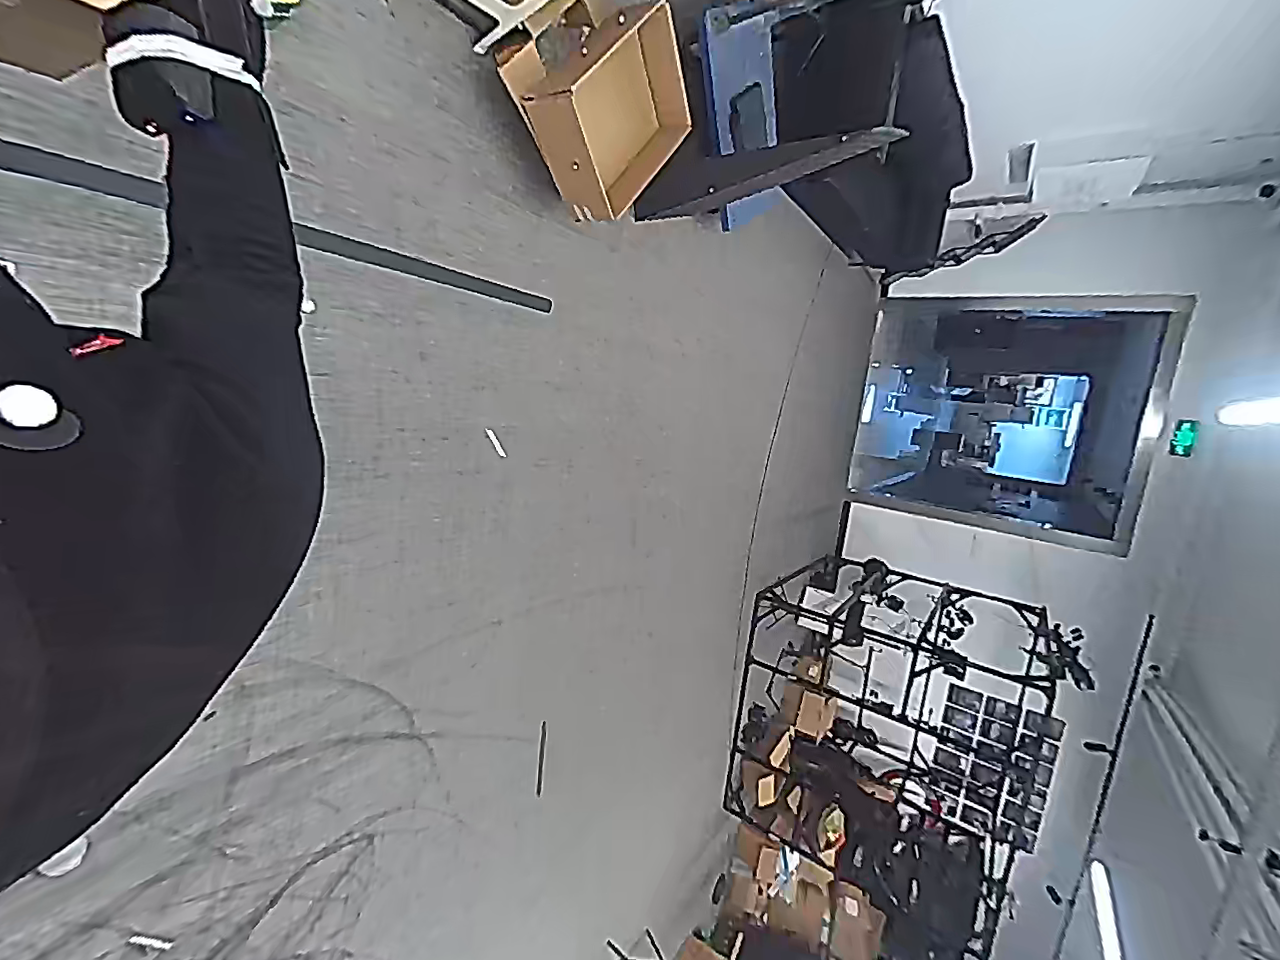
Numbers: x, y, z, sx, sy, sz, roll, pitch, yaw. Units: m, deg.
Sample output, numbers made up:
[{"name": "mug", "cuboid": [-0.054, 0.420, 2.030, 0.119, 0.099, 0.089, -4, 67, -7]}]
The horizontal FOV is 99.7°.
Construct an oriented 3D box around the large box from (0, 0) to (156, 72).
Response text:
[{"name": "large box", "cuboid": [-0.551, -0.484, 0.264, 0.408, 0.320, 0.320, -9, 115, -55]}]
